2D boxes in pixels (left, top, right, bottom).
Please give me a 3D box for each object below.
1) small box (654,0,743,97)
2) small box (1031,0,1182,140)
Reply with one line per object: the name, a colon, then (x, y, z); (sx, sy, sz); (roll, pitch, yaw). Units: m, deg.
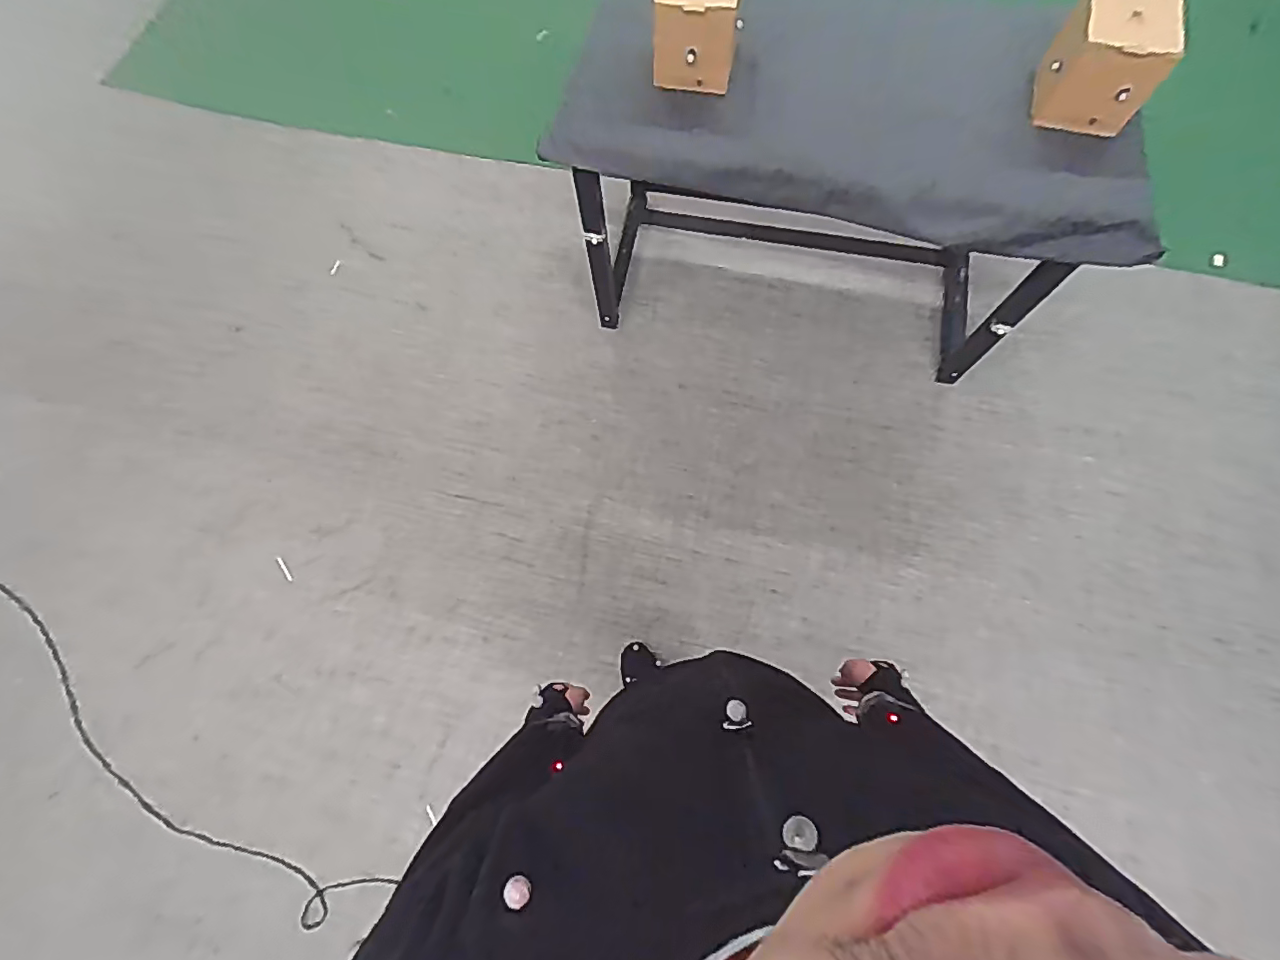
small box: (0.128, -0.966, 1.159); (0.168, 0.176, 0.179); (10, 73, 5)
small box: (0.919, -0.822, 1.080); (0.168, 0.176, 0.179); (14, 72, 6)
